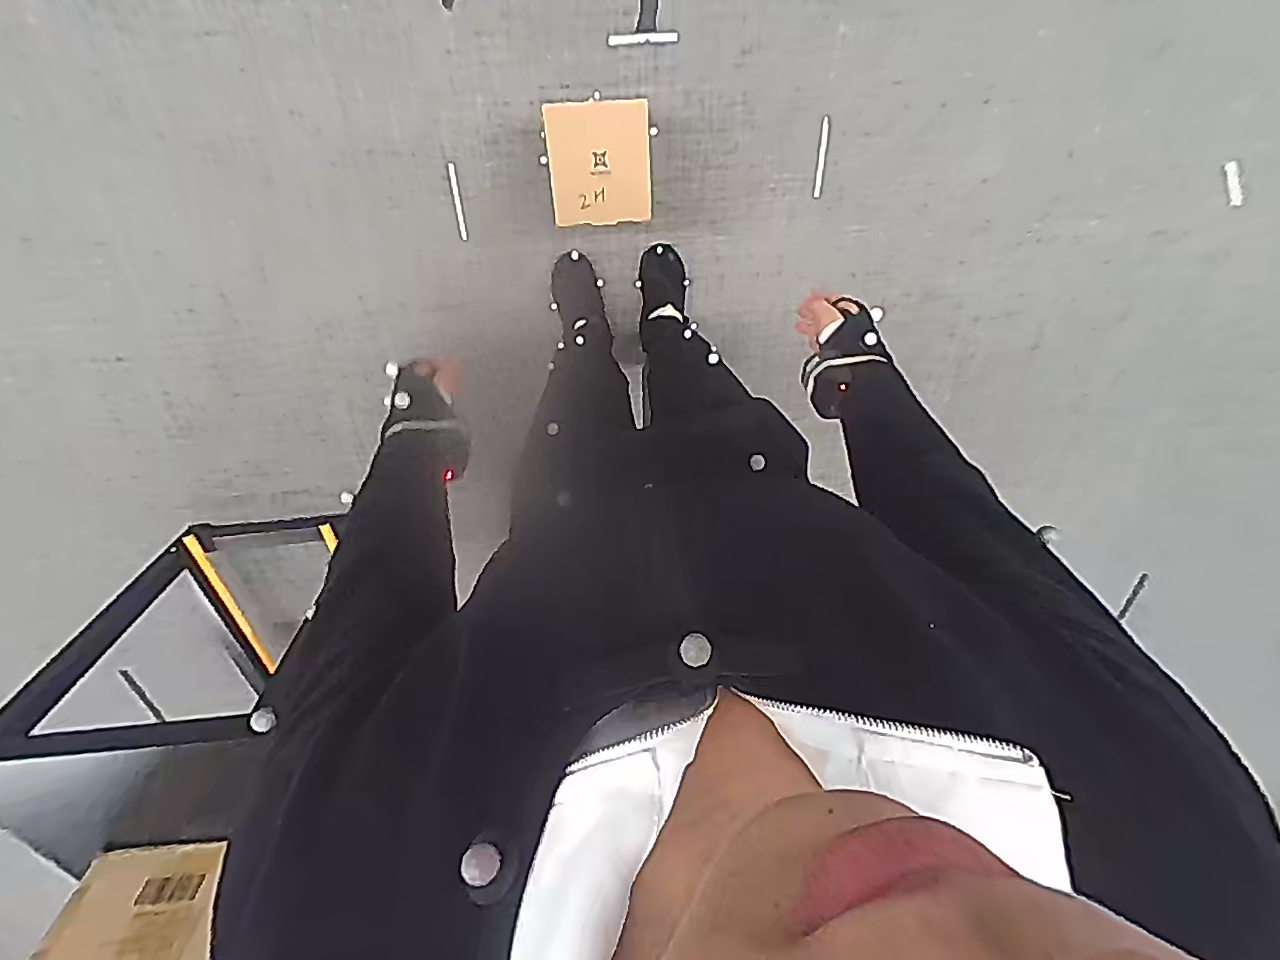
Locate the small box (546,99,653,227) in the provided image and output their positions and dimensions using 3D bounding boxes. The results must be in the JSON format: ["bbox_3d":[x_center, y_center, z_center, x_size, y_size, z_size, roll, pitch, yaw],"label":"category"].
[{"bbox_3d":[-0.068,-0.547,0.937,0.168,0.176,0.179,-4,124,-2],"label":"small box"}]
